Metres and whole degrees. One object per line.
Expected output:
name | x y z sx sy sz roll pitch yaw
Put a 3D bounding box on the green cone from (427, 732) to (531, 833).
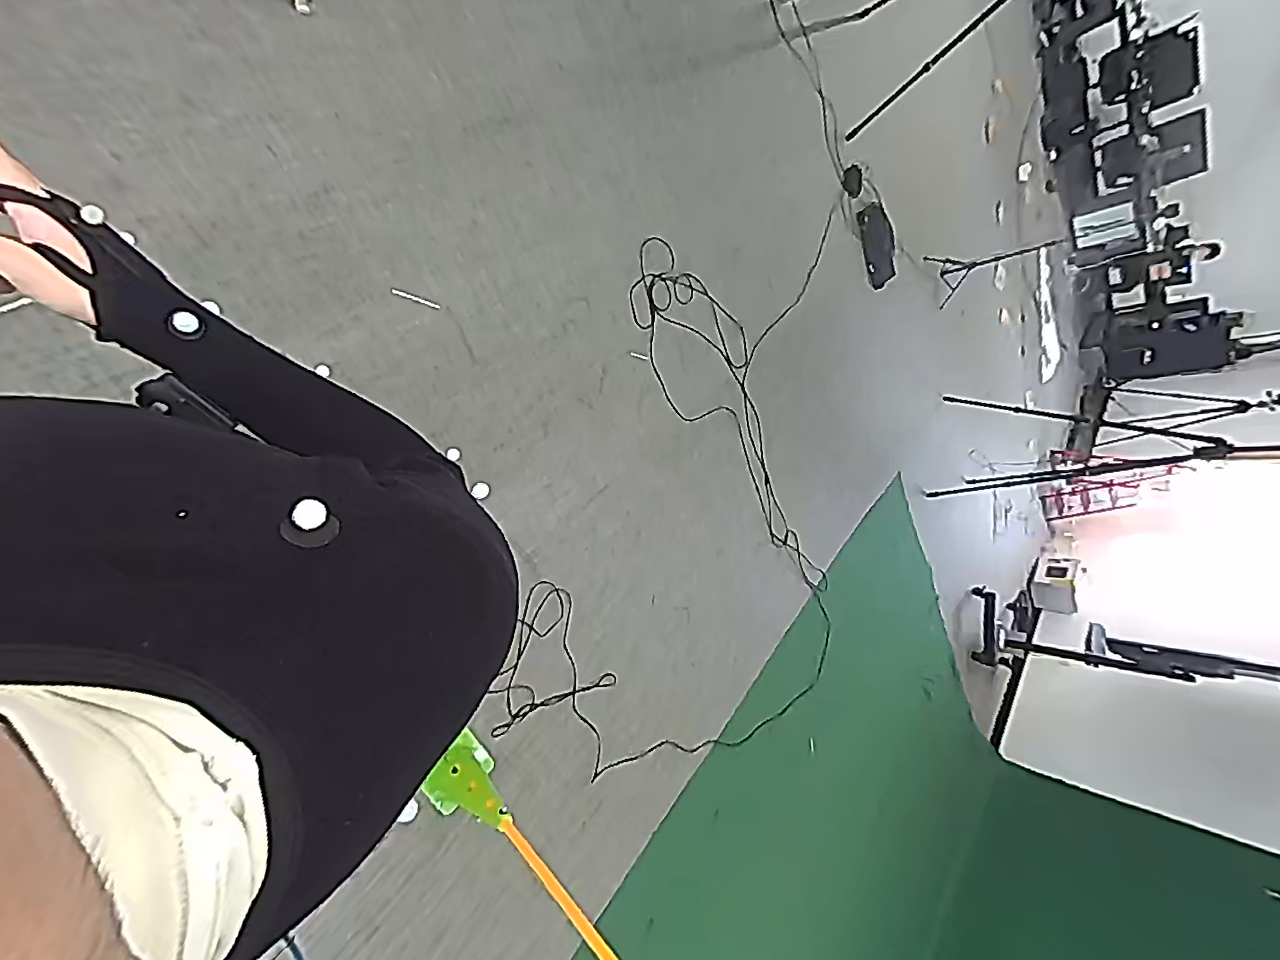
green cone | -0.425 0.919 1.558 0.202 0.368 0.200 -43 116 -33
